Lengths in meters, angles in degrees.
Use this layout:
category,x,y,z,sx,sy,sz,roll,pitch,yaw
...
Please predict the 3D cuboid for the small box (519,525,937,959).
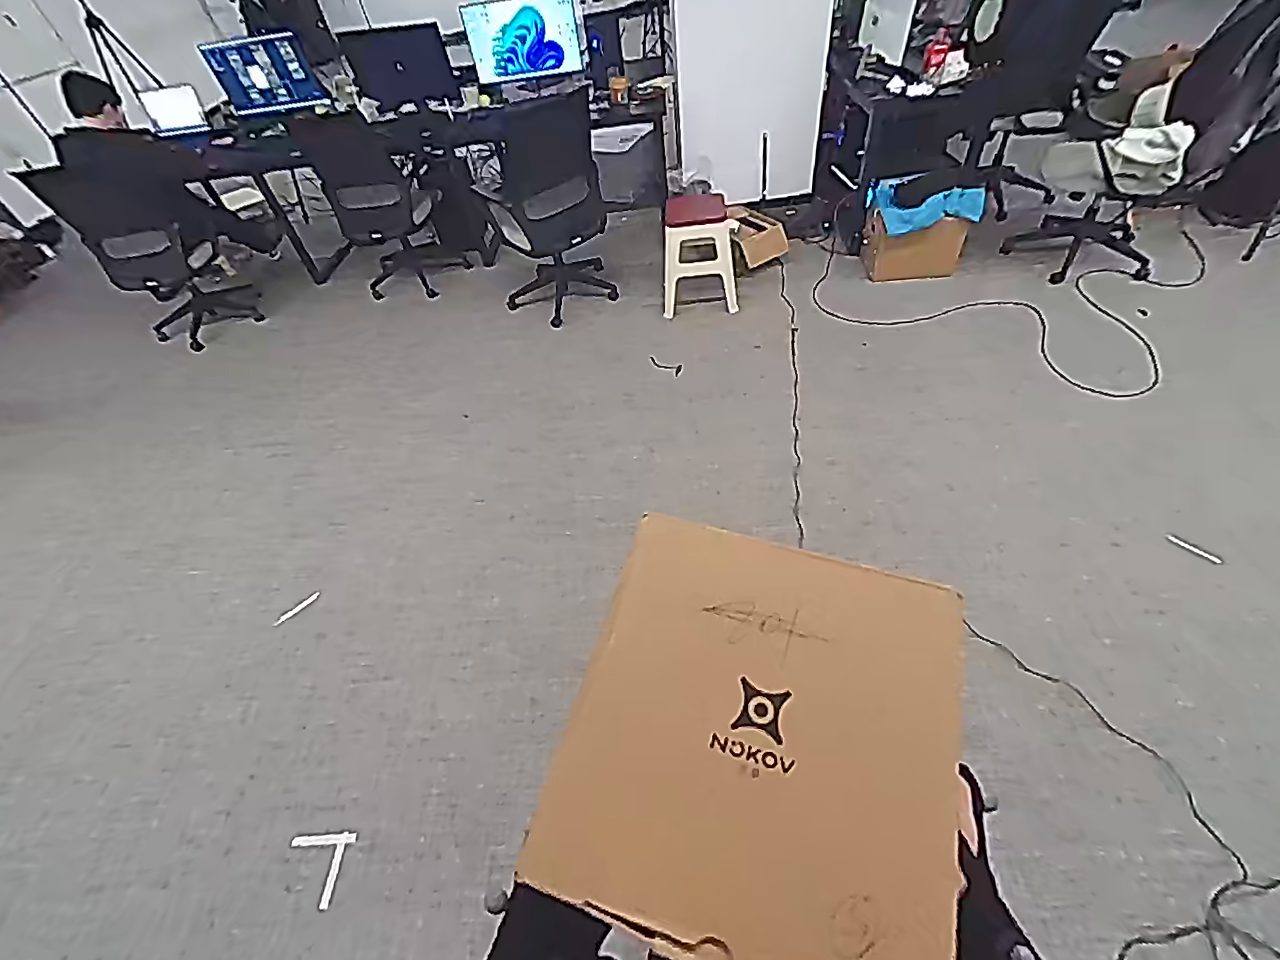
category,x,y,z,sx,sy,sz,roll,pitch,yaw
small box,0.055,0.156,0.319,0.168,0.176,0.179,13,58,11
